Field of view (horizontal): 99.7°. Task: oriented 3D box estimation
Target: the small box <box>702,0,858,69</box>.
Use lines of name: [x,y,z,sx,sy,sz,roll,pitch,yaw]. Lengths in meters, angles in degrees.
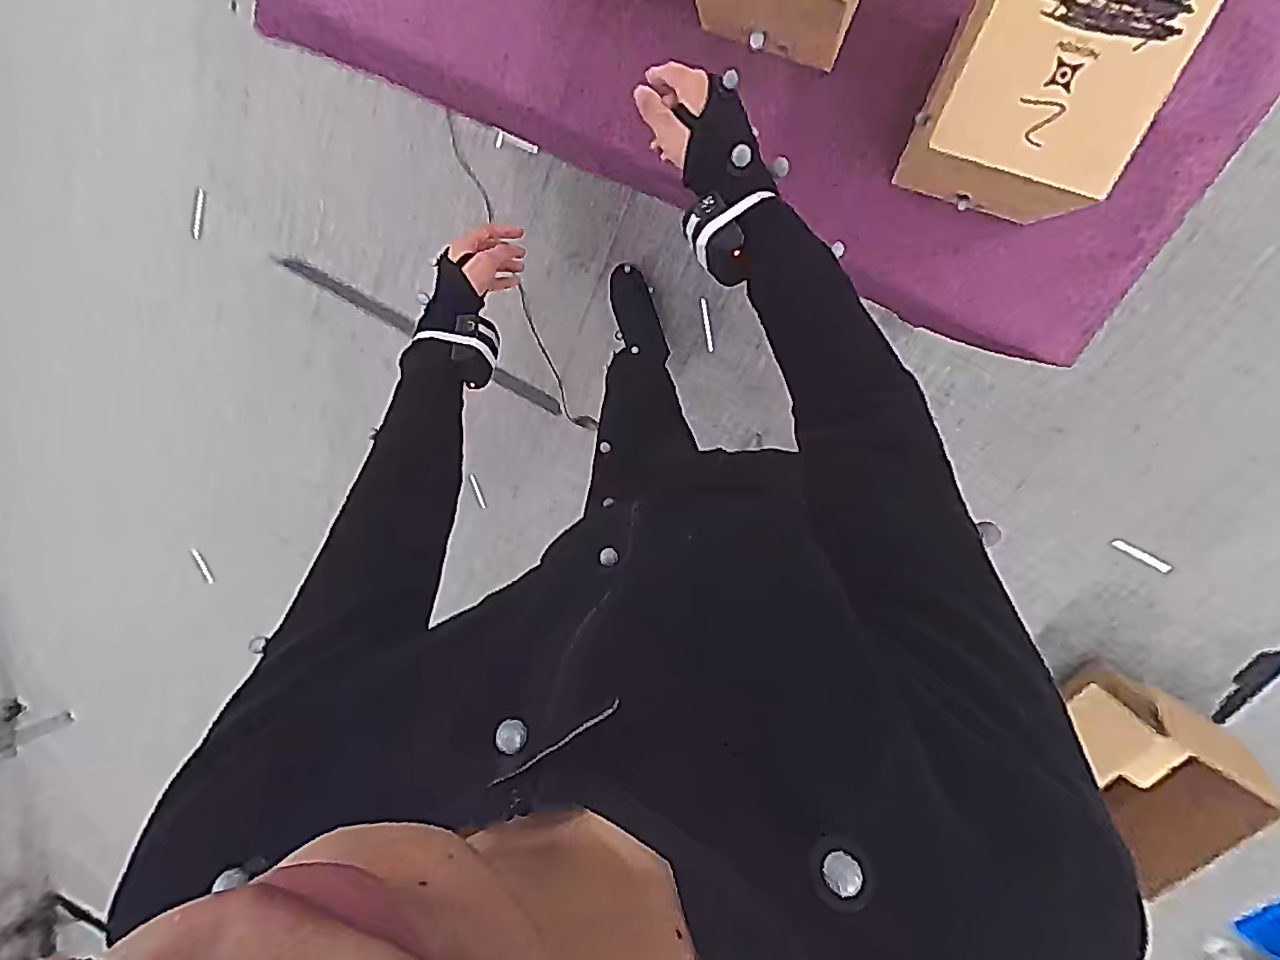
small box: [0.161,-0.566,0.544,0.168,0.176,0.179,23,112,5]
